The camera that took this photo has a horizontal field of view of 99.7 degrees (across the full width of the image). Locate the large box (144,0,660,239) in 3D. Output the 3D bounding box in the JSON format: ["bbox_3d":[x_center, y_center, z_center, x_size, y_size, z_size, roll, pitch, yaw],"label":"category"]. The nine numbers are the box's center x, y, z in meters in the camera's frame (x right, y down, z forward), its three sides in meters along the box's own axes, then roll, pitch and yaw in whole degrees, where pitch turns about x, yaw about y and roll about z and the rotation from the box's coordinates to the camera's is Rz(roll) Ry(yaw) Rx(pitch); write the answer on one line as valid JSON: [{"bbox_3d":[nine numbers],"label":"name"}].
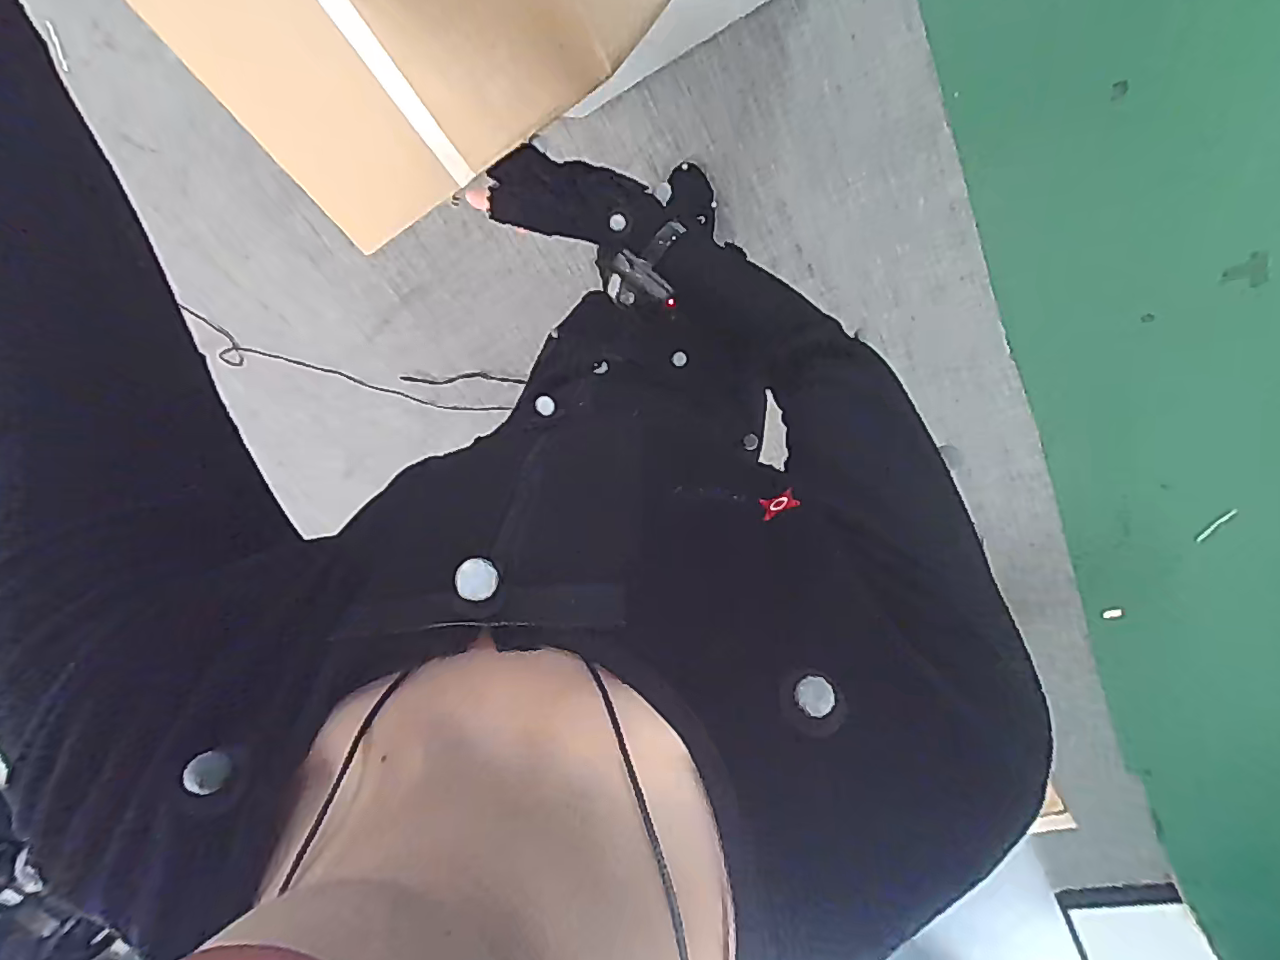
[{"bbox_3d":[-0.222,-0.506,0.450,0.320,0.320,0.408,-16,131,30],"label":"large box"}]
